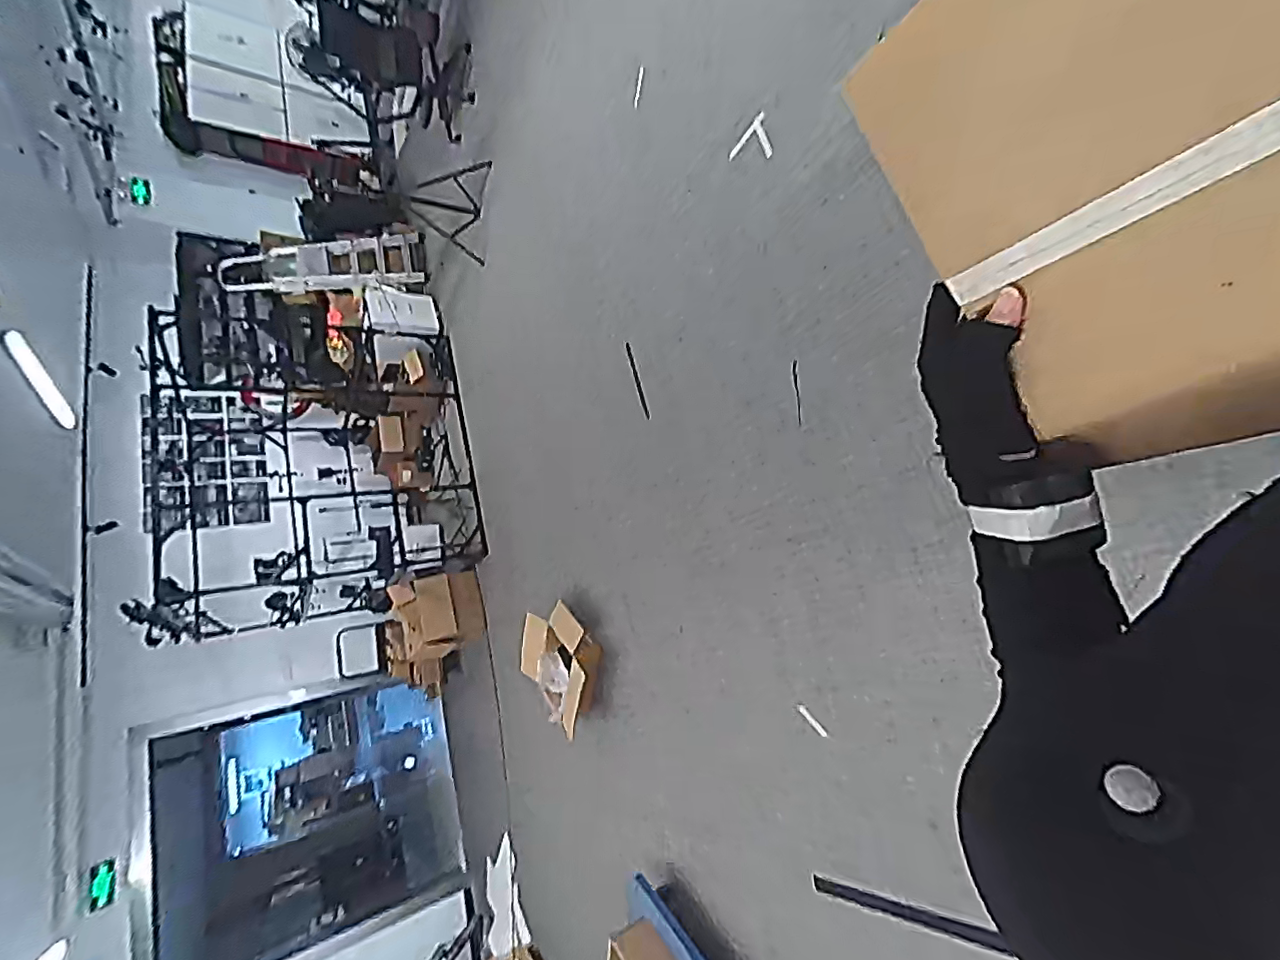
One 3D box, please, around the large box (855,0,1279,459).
[{"bbox_3d":[0.424,-0.264,0.313,0.320,0.320,0.408,55,144,-8],"label":"large box"}]
